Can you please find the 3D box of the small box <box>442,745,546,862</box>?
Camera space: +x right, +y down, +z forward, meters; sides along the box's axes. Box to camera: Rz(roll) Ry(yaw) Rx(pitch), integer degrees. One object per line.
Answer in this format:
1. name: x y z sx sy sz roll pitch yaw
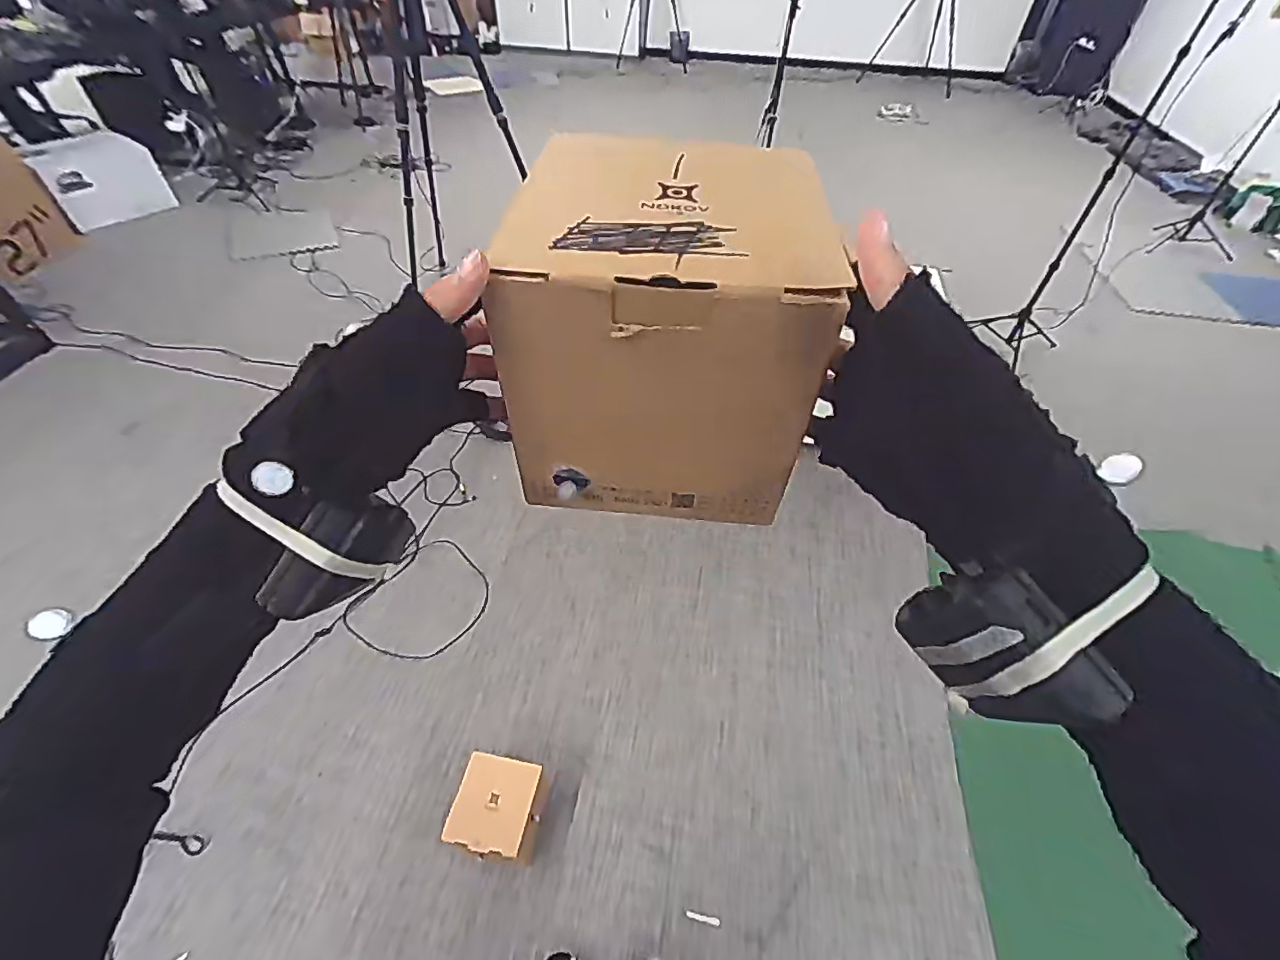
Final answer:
1. small box: -0.317 0.729 1.219 0.168 0.176 0.179 9 48 7
